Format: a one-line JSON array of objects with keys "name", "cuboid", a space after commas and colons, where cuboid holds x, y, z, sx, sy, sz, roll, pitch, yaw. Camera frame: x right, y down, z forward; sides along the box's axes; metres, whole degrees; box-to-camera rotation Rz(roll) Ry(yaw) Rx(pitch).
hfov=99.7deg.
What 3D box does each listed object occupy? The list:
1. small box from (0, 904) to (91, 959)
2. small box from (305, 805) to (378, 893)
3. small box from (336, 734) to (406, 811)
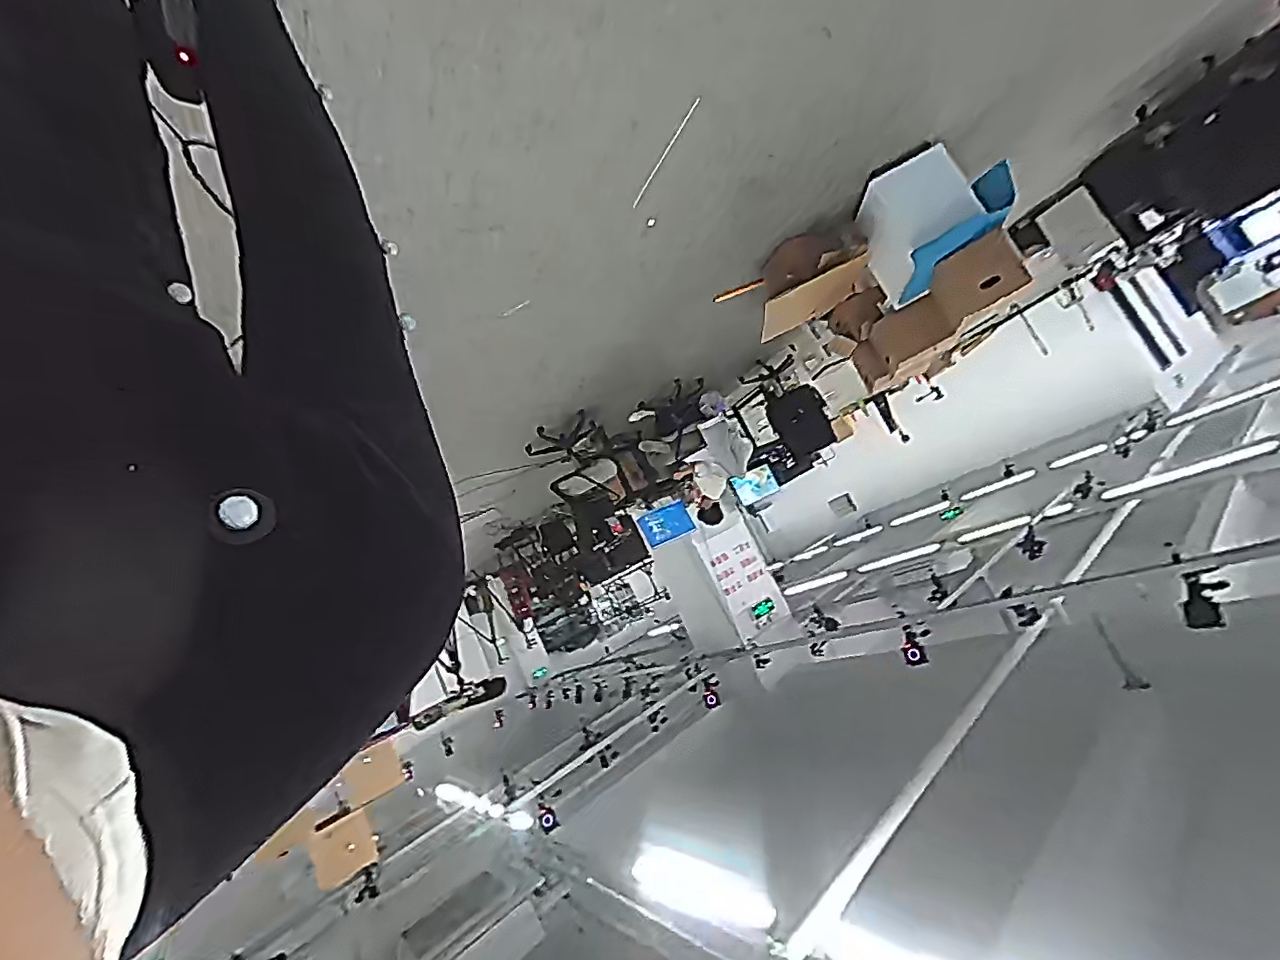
[{"name": "small box", "cuboid": [-1.561, 1.225, 1.375, 0.179, 0.176, 0.168, -20, 170, -37]}, {"name": "small box", "cuboid": [-0.976, 1.185, 1.761, 0.168, 0.176, 0.179, -20, 170, -36]}, {"name": "small box", "cuboid": [-0.932, 0.999, 1.861, 0.179, 0.176, 0.168, -19, 170, -34]}]
